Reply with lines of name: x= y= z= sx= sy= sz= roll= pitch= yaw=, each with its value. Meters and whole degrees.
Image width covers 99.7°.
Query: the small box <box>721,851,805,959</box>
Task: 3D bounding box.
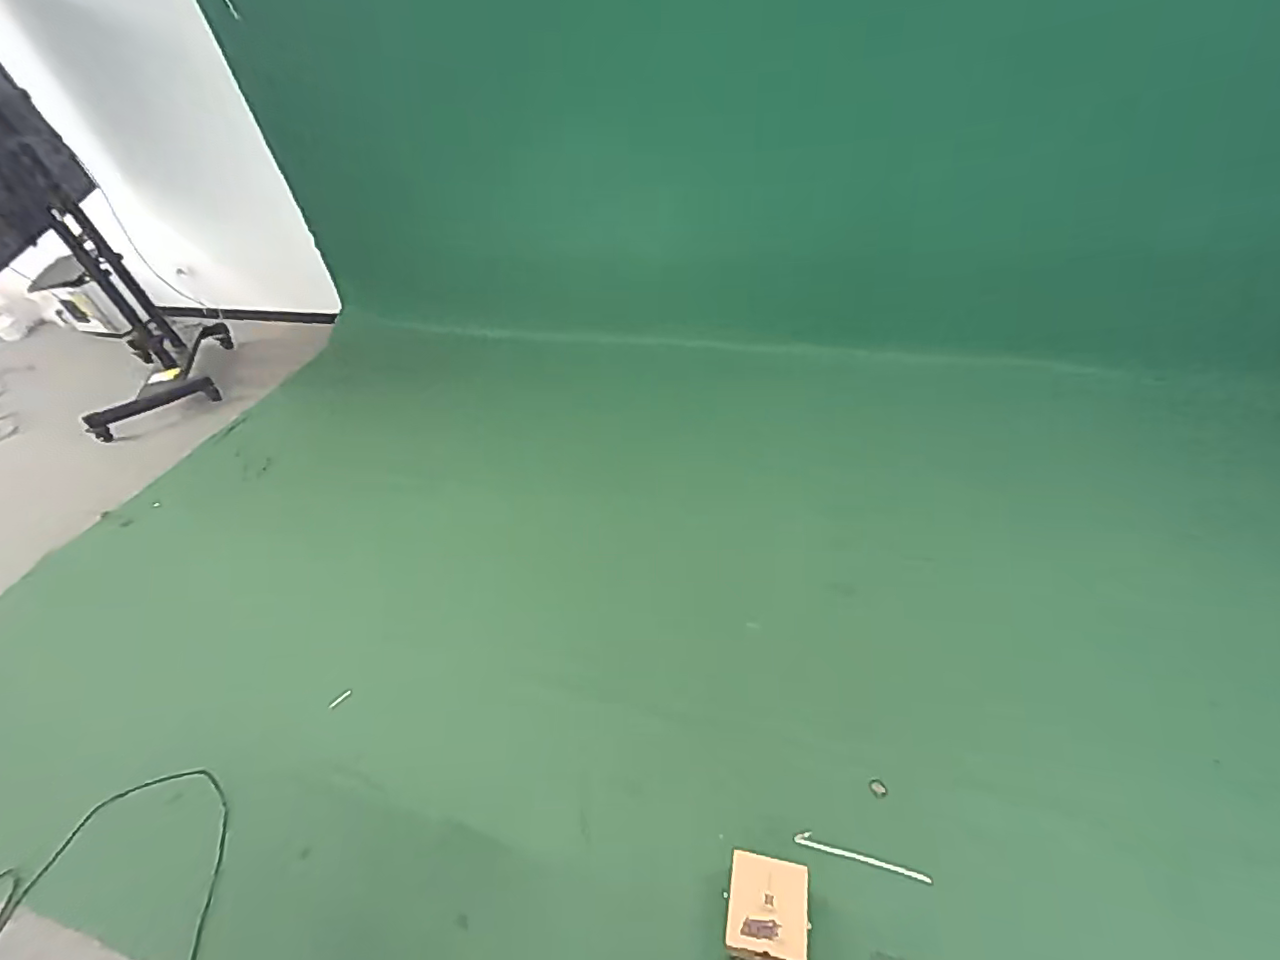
small box: x=0.277 y=0.978 z=1.219 sx=0.168 sy=0.176 sz=0.179 roll=6 pitch=44 yaw=13
